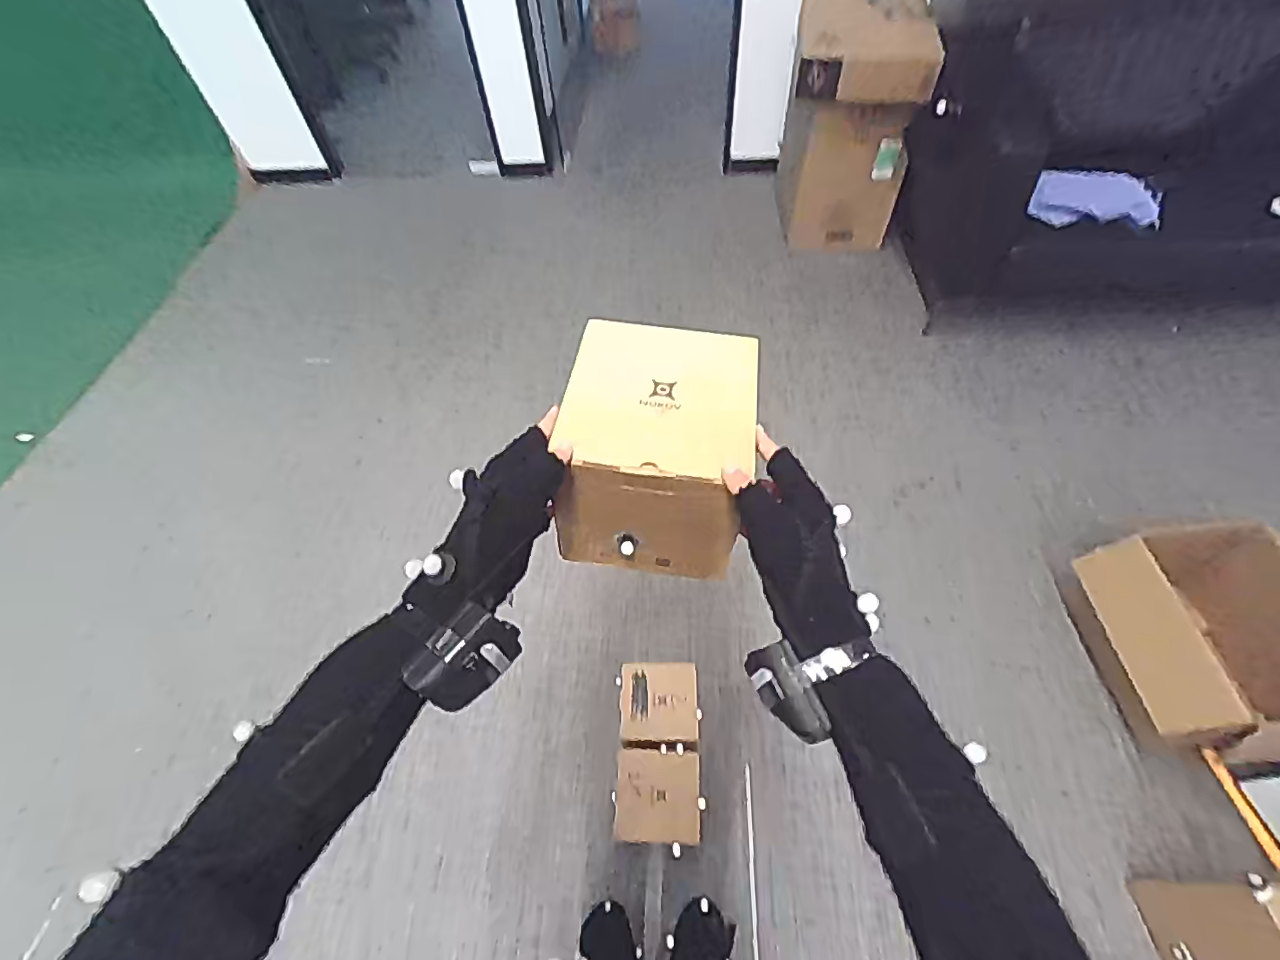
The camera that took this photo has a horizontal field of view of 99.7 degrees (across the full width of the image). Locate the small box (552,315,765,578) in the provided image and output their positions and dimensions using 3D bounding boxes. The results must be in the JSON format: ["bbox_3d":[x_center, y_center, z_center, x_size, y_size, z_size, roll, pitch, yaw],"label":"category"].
[{"bbox_3d":[0.019,-0.029,0.526,0.168,0.176,0.179,9,54,3],"label":"small box"}]
